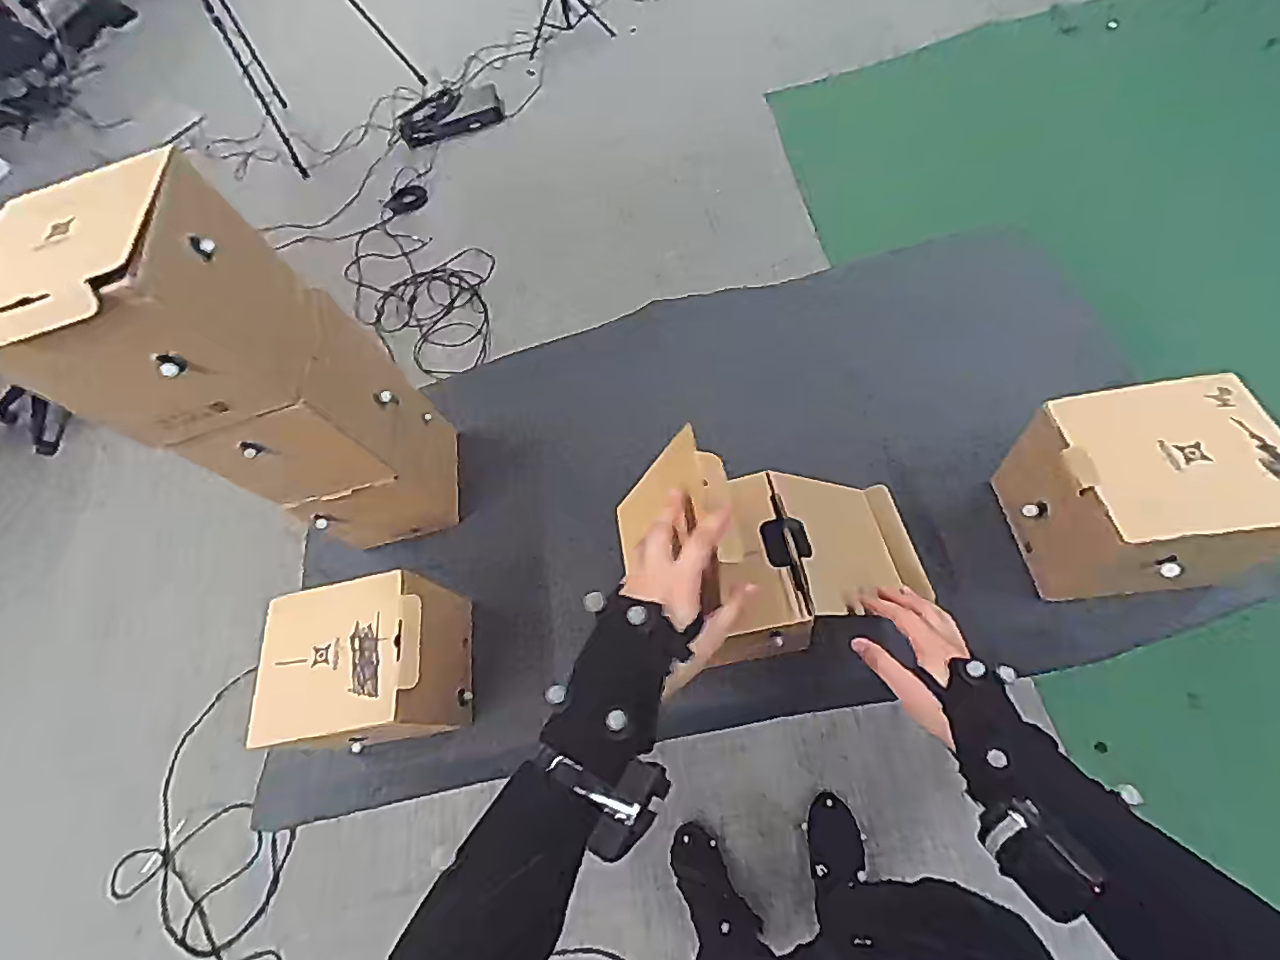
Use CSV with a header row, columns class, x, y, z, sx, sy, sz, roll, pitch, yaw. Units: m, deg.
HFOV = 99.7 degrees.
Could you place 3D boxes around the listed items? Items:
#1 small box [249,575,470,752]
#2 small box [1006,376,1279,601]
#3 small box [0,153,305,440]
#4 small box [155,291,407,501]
class,x,y,z,sx,sy,sz,roll,pitch,yaw
small box,-0.324,0.229,0.666,0.179,0.176,0.168,-13,63,7
small box,0.521,0.020,0.570,0.179,0.176,0.168,-9,59,10
small box,-0.450,-0.157,0.510,0.168,0.176,0.179,-16,62,3
small box,-0.412,-0.090,0.653,0.179,0.176,0.168,-13,64,6
